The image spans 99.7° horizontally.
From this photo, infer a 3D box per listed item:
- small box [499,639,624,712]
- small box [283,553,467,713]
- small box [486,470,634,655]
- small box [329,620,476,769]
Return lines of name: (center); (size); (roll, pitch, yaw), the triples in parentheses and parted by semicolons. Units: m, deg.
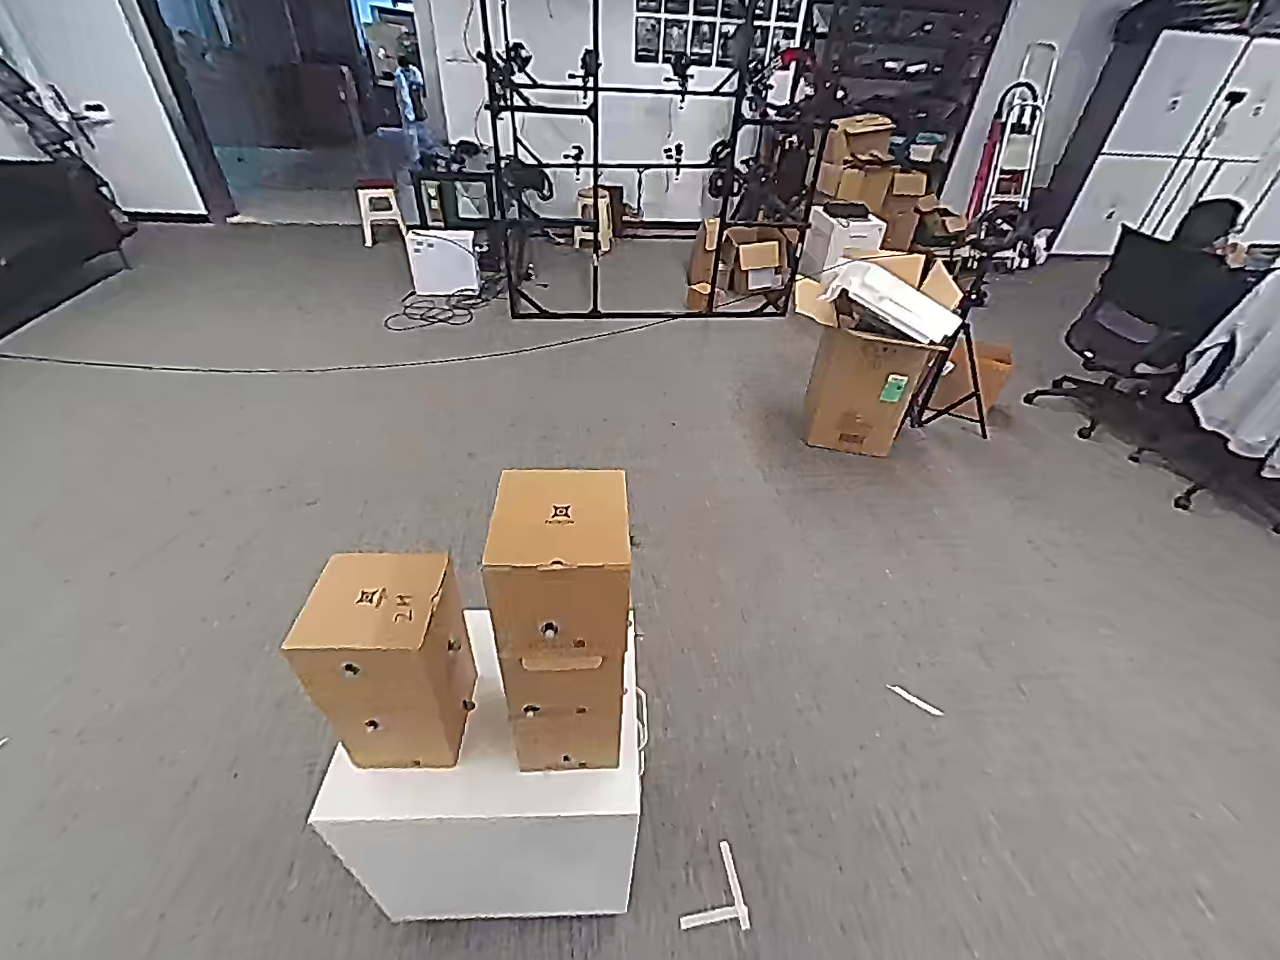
small box: (-0.108, 0.231, 0.810); (0.168, 0.176, 0.179); (0, 38, -5)
small box: (-0.368, 0.225, 0.793); (0.179, 0.176, 0.168); (2, 40, -3)
small box: (-0.098, 0.105, 0.707); (0.168, 0.176, 0.179); (0, 39, -5)
small box: (-0.377, 0.351, 0.899); (0.168, 0.176, 0.179); (1, 38, -3)
